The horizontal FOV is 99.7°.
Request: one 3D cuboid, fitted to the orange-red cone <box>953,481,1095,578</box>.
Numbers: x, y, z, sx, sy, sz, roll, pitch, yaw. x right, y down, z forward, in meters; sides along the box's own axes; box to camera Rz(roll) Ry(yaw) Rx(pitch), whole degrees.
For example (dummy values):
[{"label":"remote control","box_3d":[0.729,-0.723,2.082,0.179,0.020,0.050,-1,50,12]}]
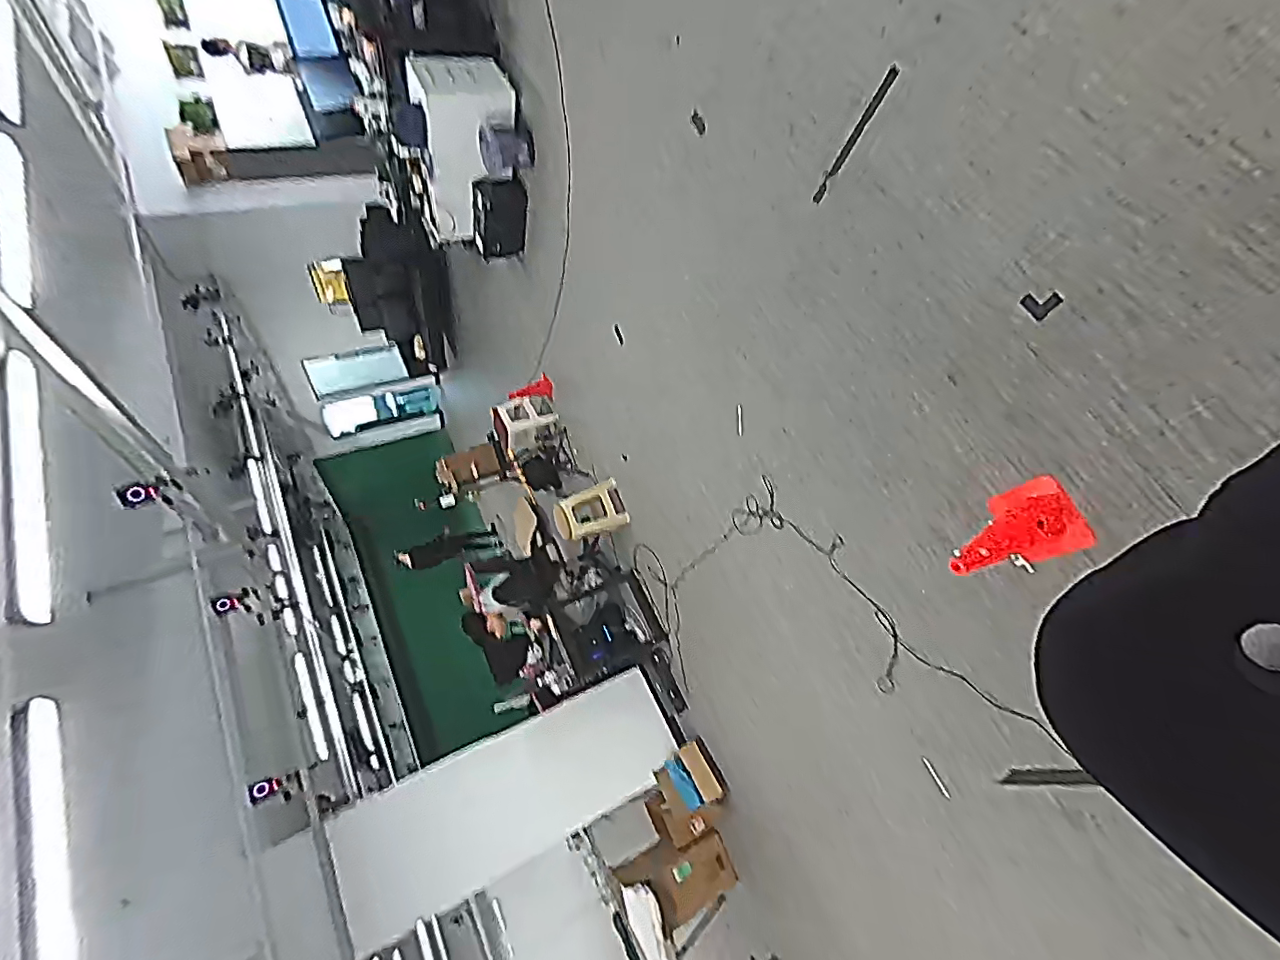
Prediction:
[{"label":"orange-red cone","box_3d":[0.912,0.164,1.358,0.198,0.360,0.199,65,154,13]}]
